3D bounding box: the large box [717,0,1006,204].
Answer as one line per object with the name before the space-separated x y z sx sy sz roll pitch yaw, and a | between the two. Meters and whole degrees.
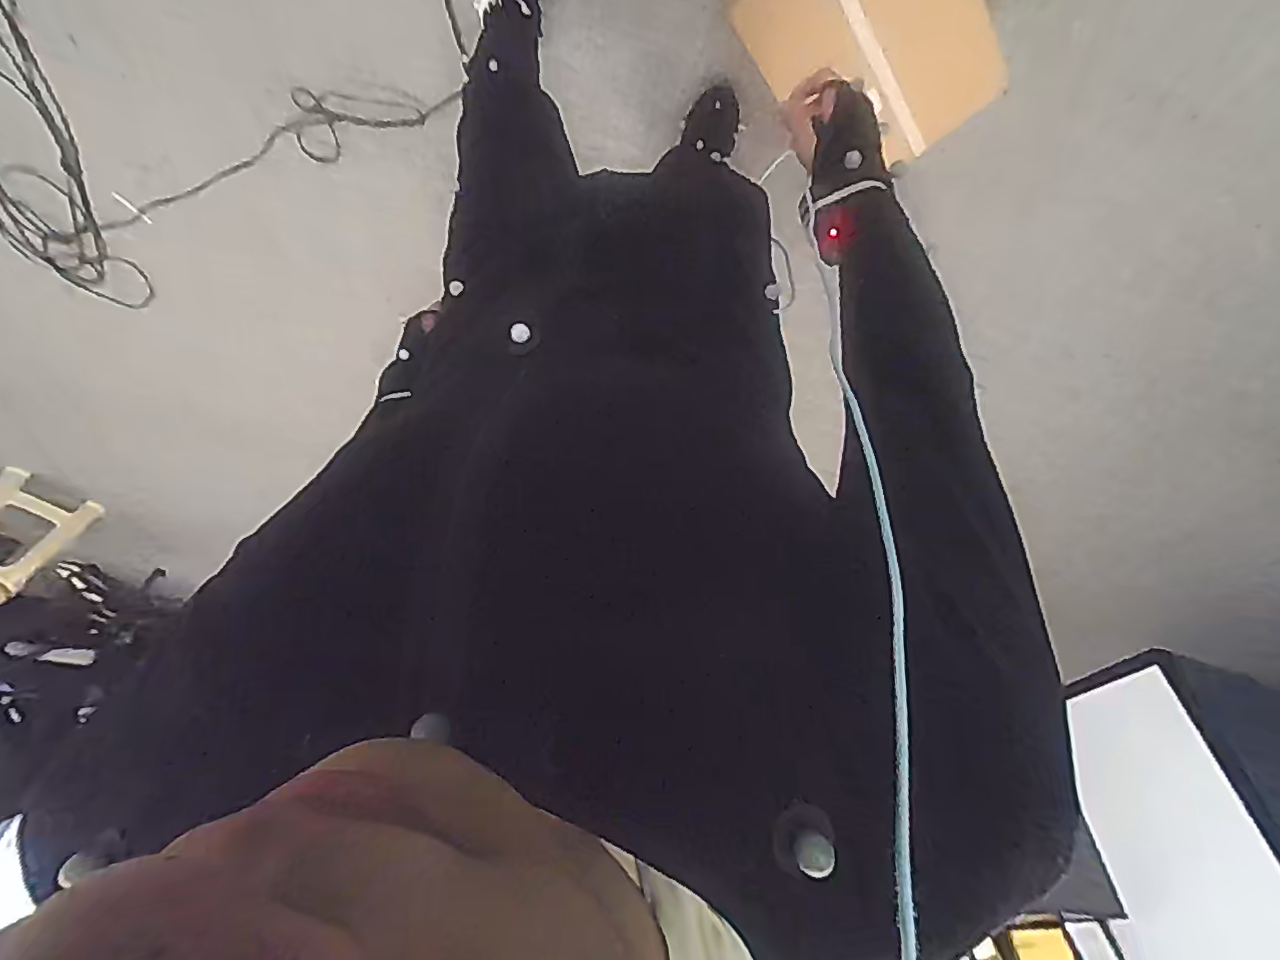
large box | 0.386 -0.826 1.000 0.320 0.320 0.408 -30 128 31
